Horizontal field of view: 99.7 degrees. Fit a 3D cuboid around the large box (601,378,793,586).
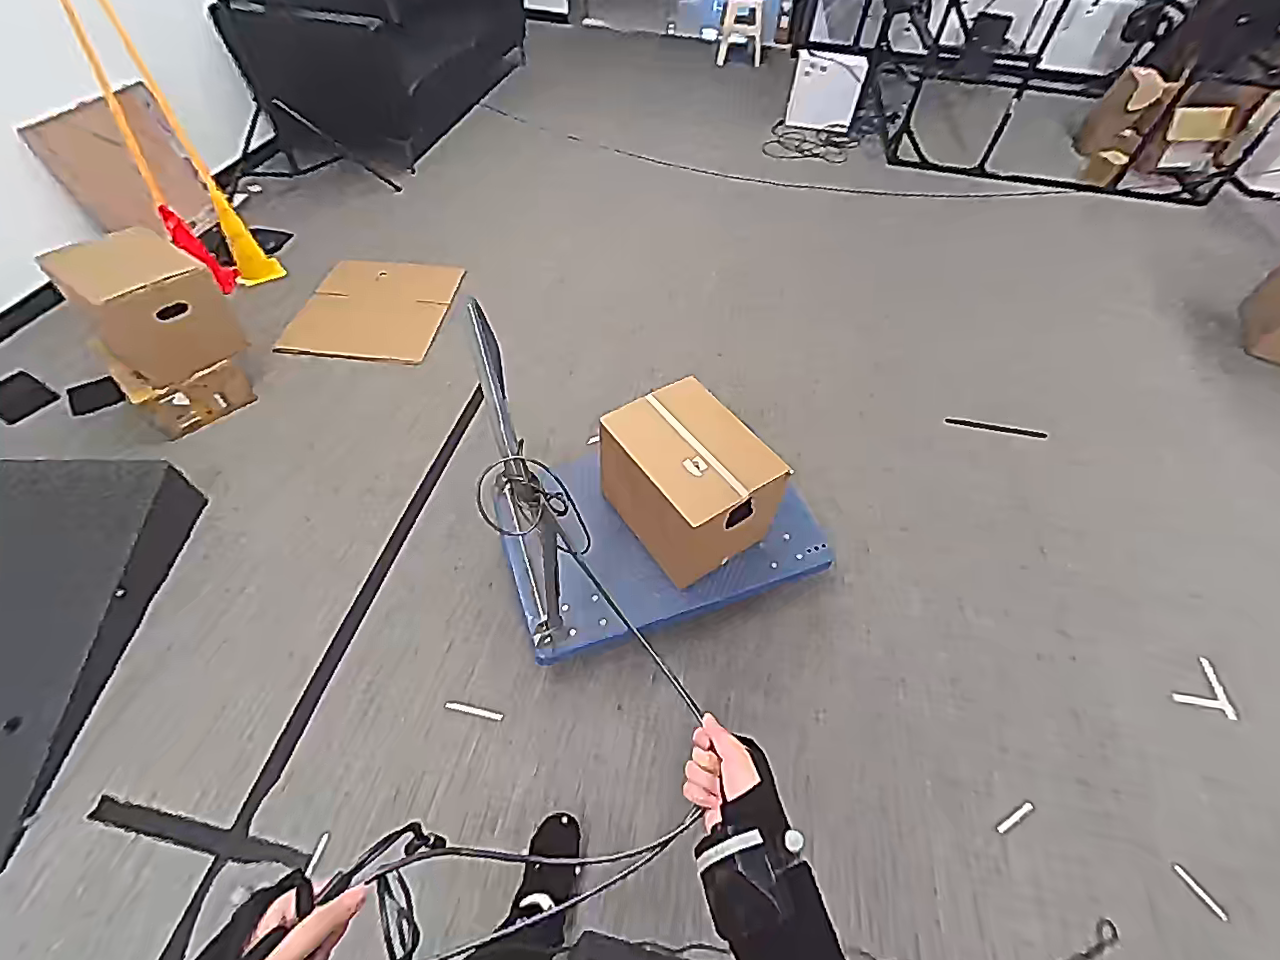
[{"bbox_3d":[0.127,0.002,1.463,0.320,0.320,0.408,-28,60,-22],"label":"large box"}]
